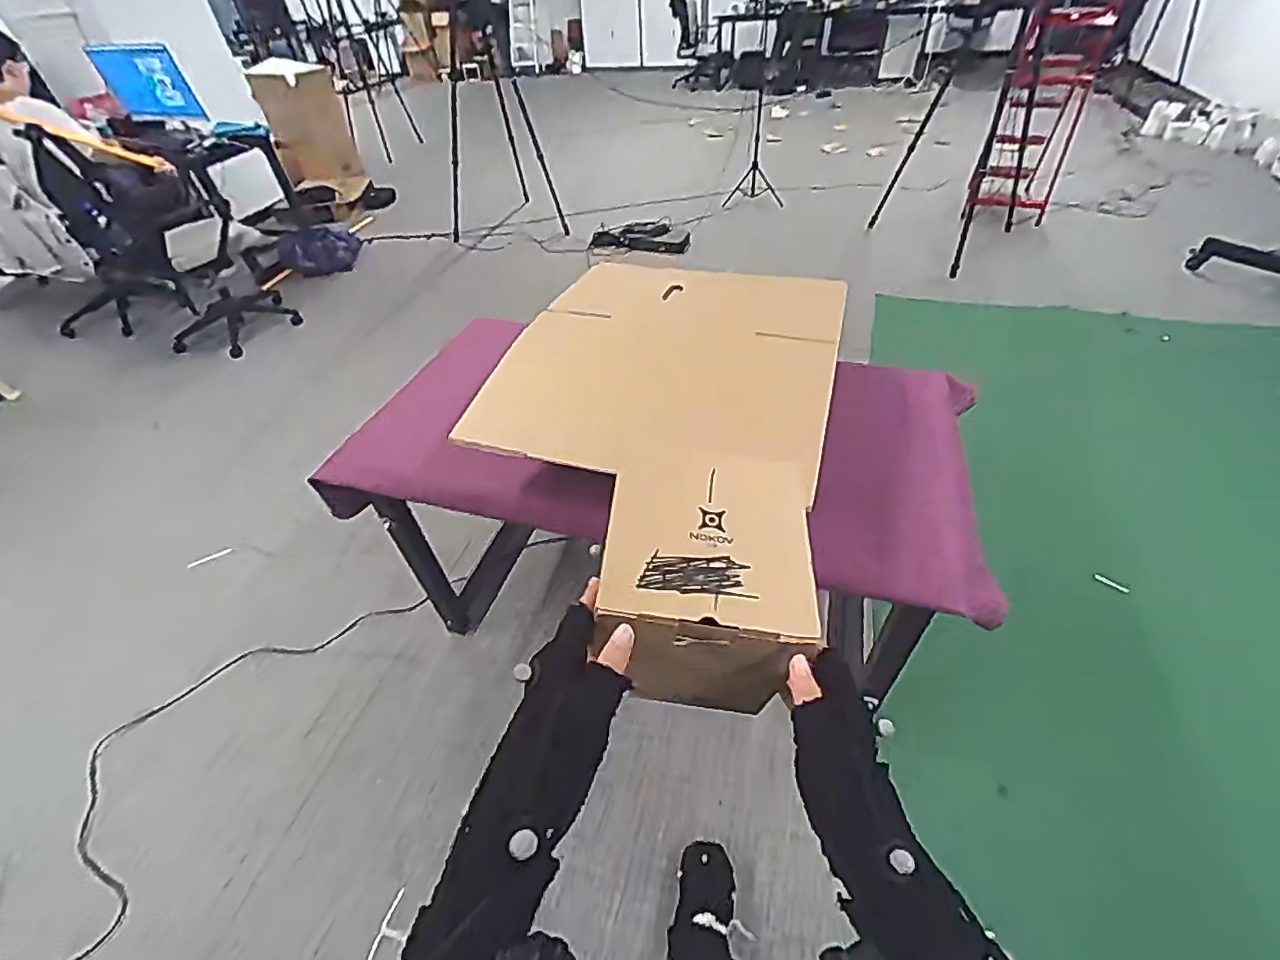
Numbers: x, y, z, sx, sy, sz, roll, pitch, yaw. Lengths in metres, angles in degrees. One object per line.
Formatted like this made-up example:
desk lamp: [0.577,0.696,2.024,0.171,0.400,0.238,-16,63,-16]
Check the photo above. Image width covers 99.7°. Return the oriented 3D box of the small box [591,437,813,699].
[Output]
small box: [0.047,0.088,0.506,0.168,0.176,0.179,8,50,-2]
